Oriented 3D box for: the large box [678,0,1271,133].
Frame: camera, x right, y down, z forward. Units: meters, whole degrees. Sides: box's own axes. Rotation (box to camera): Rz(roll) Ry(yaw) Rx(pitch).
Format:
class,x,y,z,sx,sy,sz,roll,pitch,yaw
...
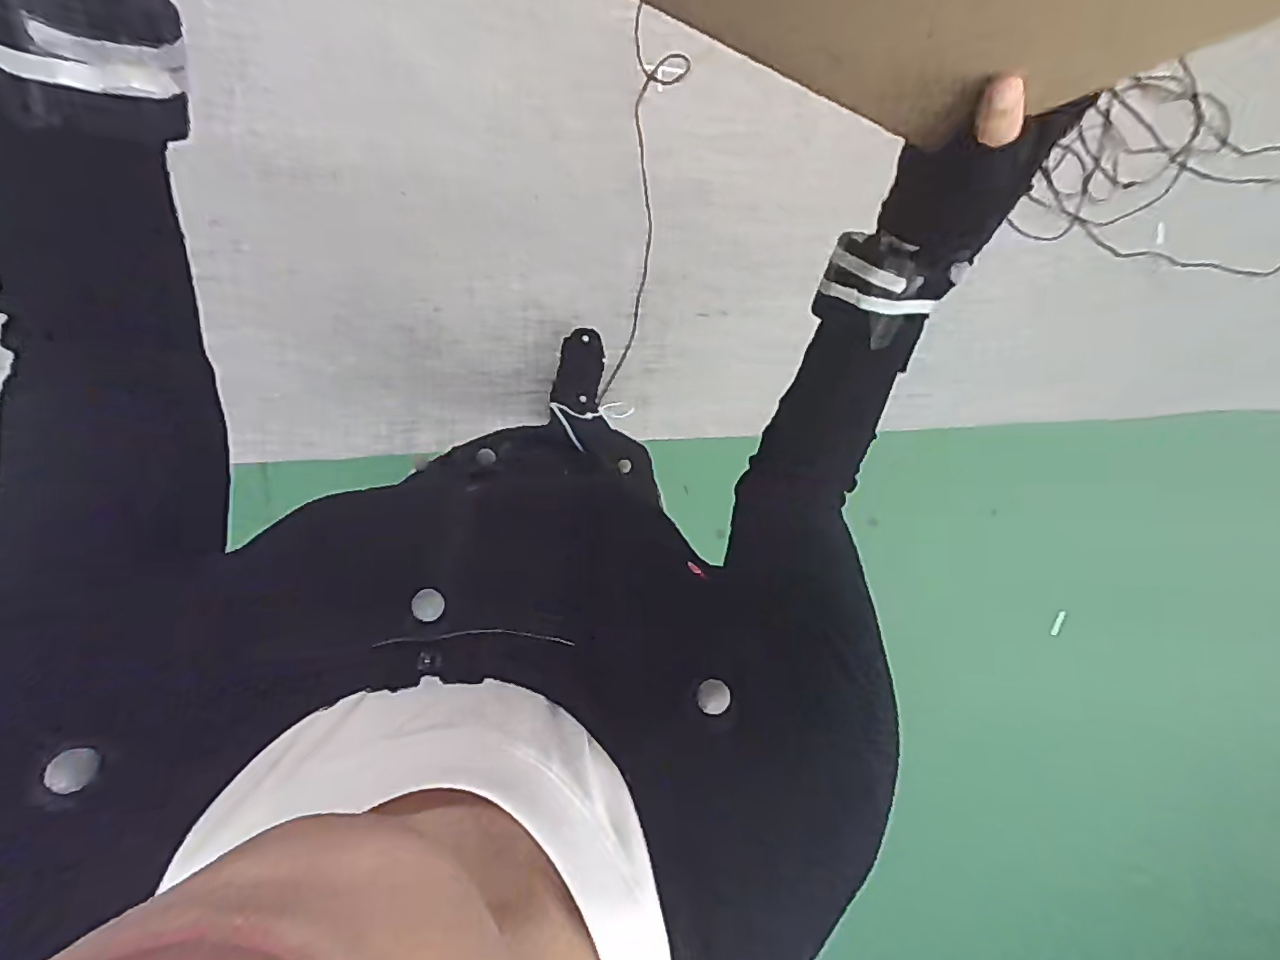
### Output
class,x,y,z,sx,sy,sz,roll,pitch,yaw
large box,0.081,-0.338,0.088,0.408,0.320,0.320,8,101,-23
